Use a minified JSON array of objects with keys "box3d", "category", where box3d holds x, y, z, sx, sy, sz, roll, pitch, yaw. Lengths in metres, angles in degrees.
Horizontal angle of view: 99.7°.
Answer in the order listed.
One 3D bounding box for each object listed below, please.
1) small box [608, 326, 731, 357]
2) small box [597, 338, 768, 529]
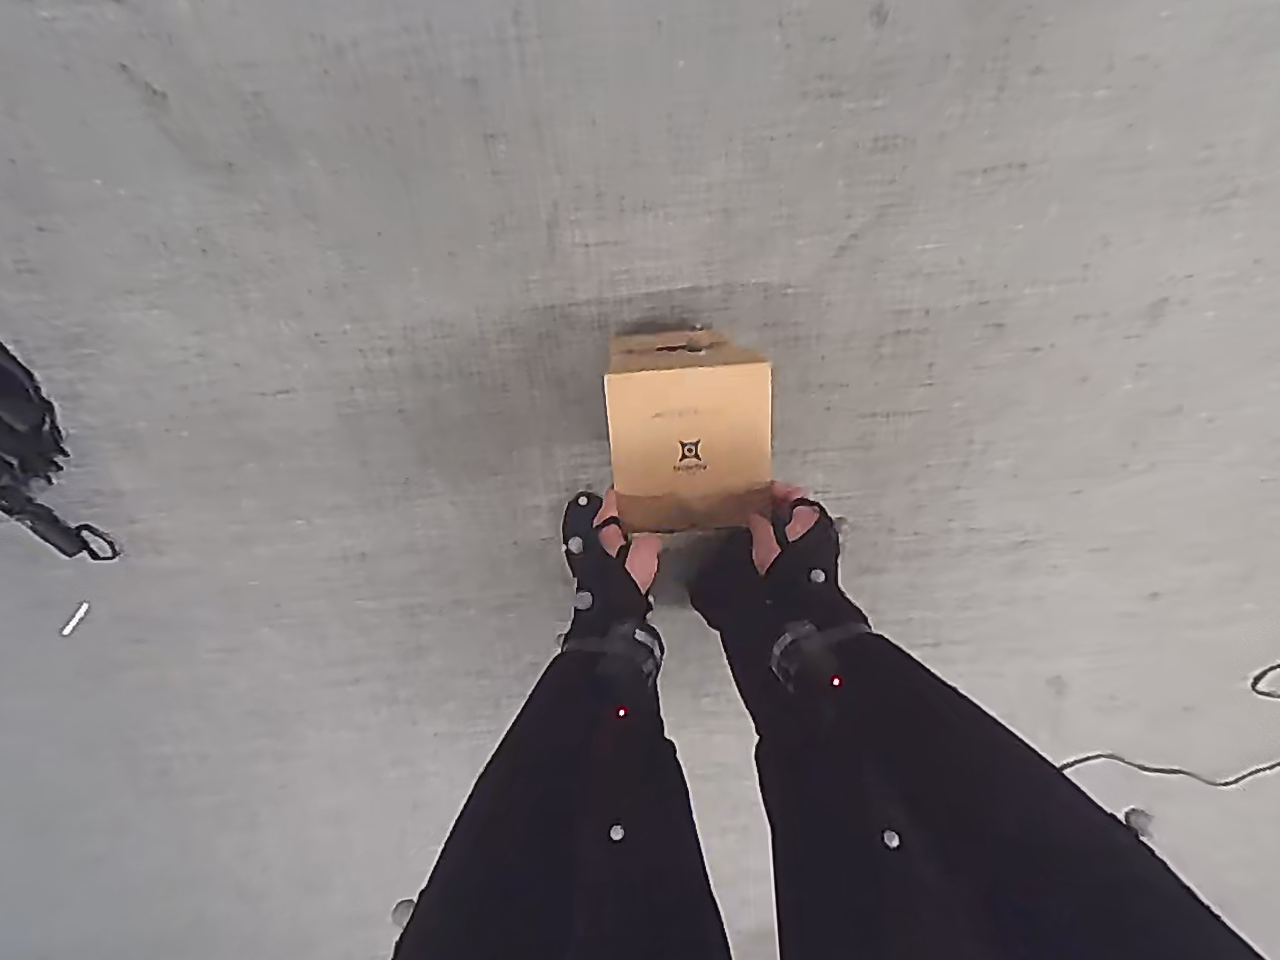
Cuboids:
[{"box3d":[0.043,-0.130,0.803,0.168,0.176,0.179,-6,112,1],"category":"small box"},{"box3d":[0.051,-0.060,0.620,0.168,0.176,0.179,-5,109,4],"category":"small box"}]
